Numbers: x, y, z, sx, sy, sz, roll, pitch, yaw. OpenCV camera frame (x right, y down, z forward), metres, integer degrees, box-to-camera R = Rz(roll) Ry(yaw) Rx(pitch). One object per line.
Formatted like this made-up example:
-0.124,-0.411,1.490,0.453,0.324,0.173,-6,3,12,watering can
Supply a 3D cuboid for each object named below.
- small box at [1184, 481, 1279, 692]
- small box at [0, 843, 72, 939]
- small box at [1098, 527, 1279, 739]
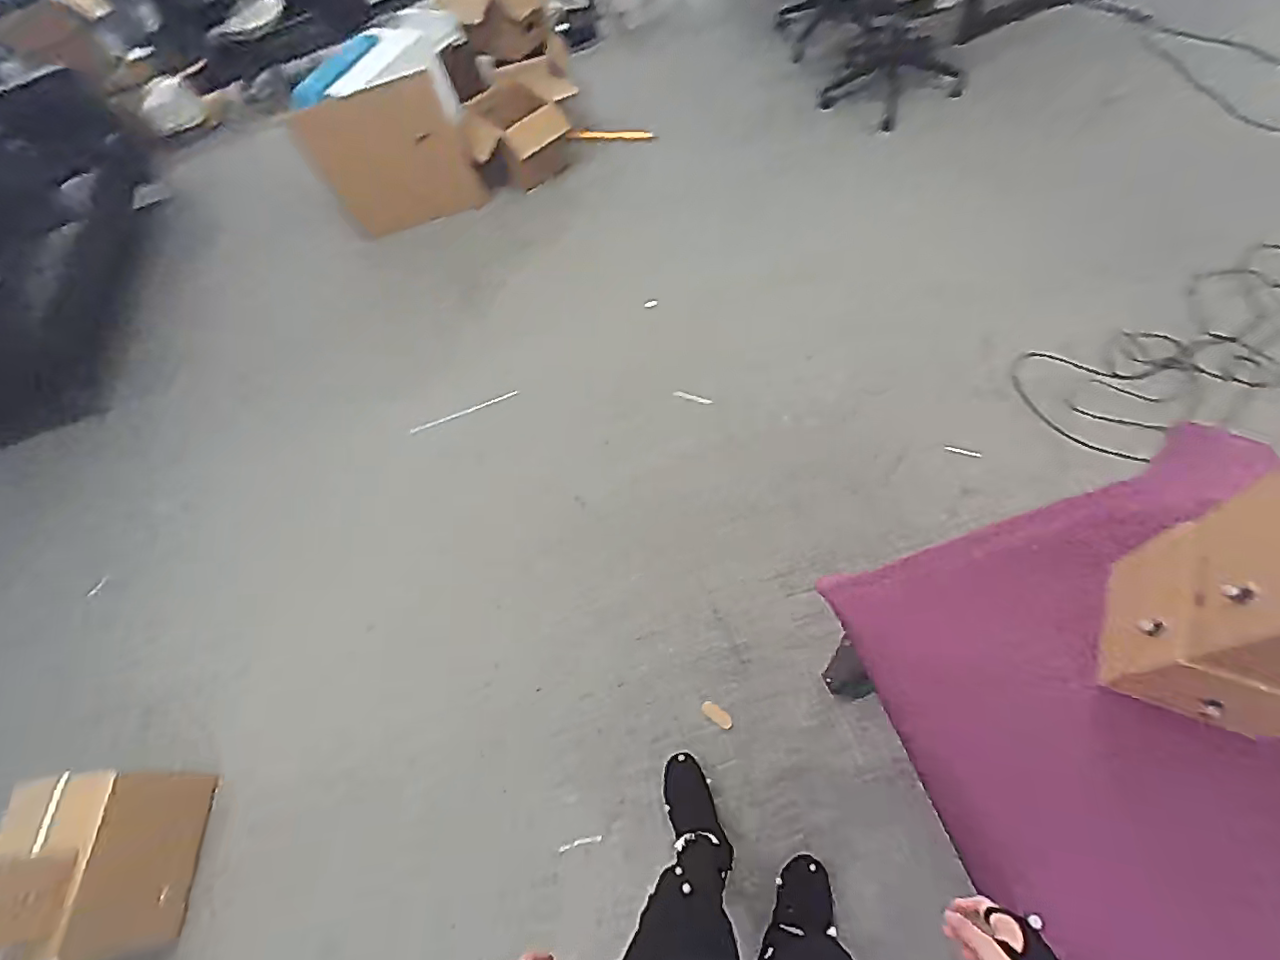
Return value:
0.661,0.113,0.497,0.179,0.176,0.168,19,69,21,small box
-1.438,0.918,1.194,0.179,0.176,0.168,-12,59,4,small box
0.687,0.187,0.640,0.168,0.176,0.179,19,68,21,small box
